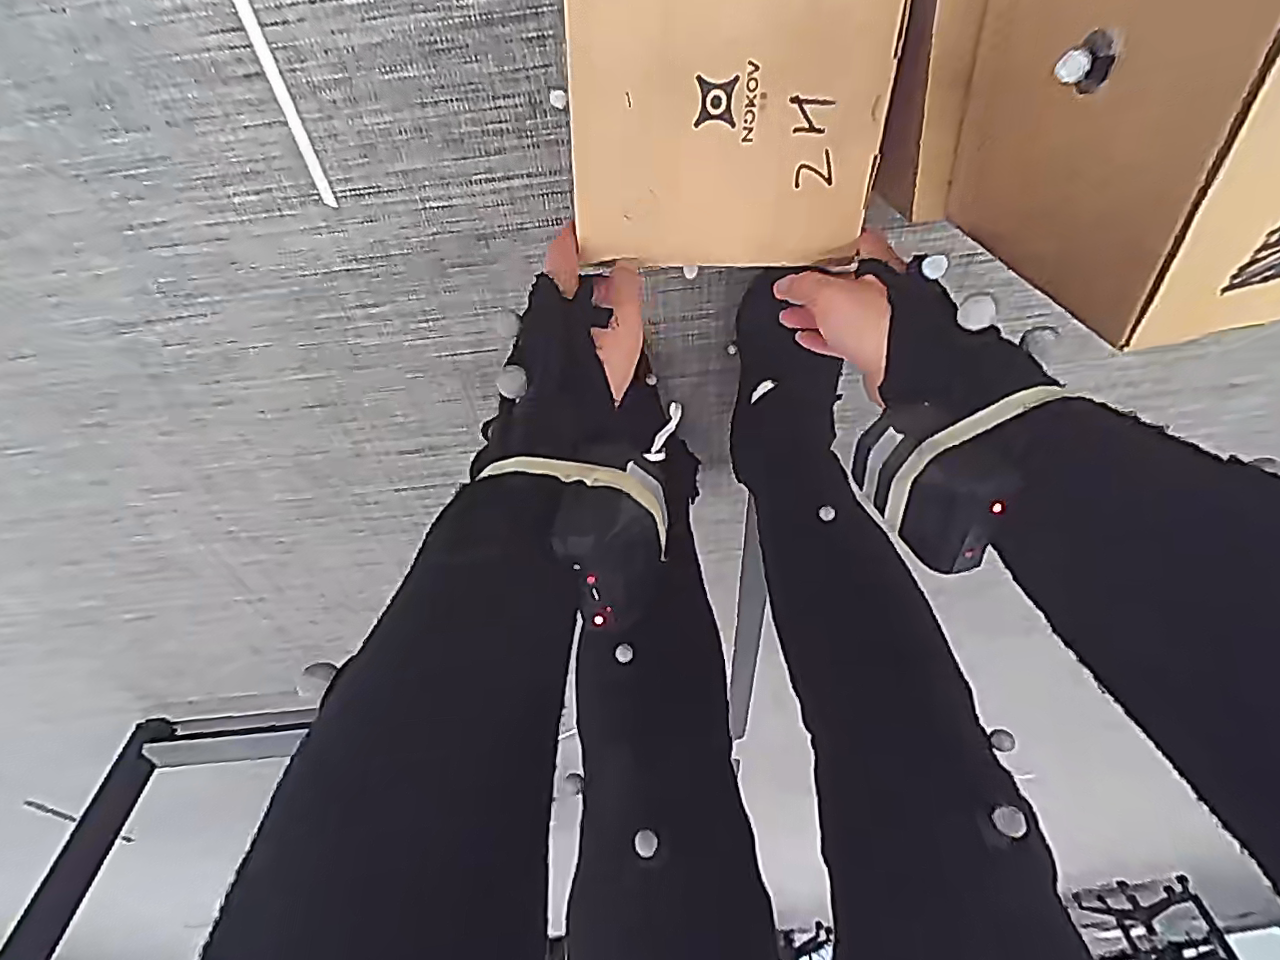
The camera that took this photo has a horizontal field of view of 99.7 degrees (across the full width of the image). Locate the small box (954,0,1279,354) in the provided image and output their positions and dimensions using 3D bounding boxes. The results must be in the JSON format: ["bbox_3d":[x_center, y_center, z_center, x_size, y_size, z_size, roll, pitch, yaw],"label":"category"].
[{"bbox_3d":[0.264,-0.183,0.227,0.168,0.176,0.179,-10,133,5],"label":"small box"}]

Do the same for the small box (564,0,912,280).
[{"bbox_3d":[0.044,-0.238,0.360,0.179,0.176,0.168,0,121,-5],"label":"small box"}]
